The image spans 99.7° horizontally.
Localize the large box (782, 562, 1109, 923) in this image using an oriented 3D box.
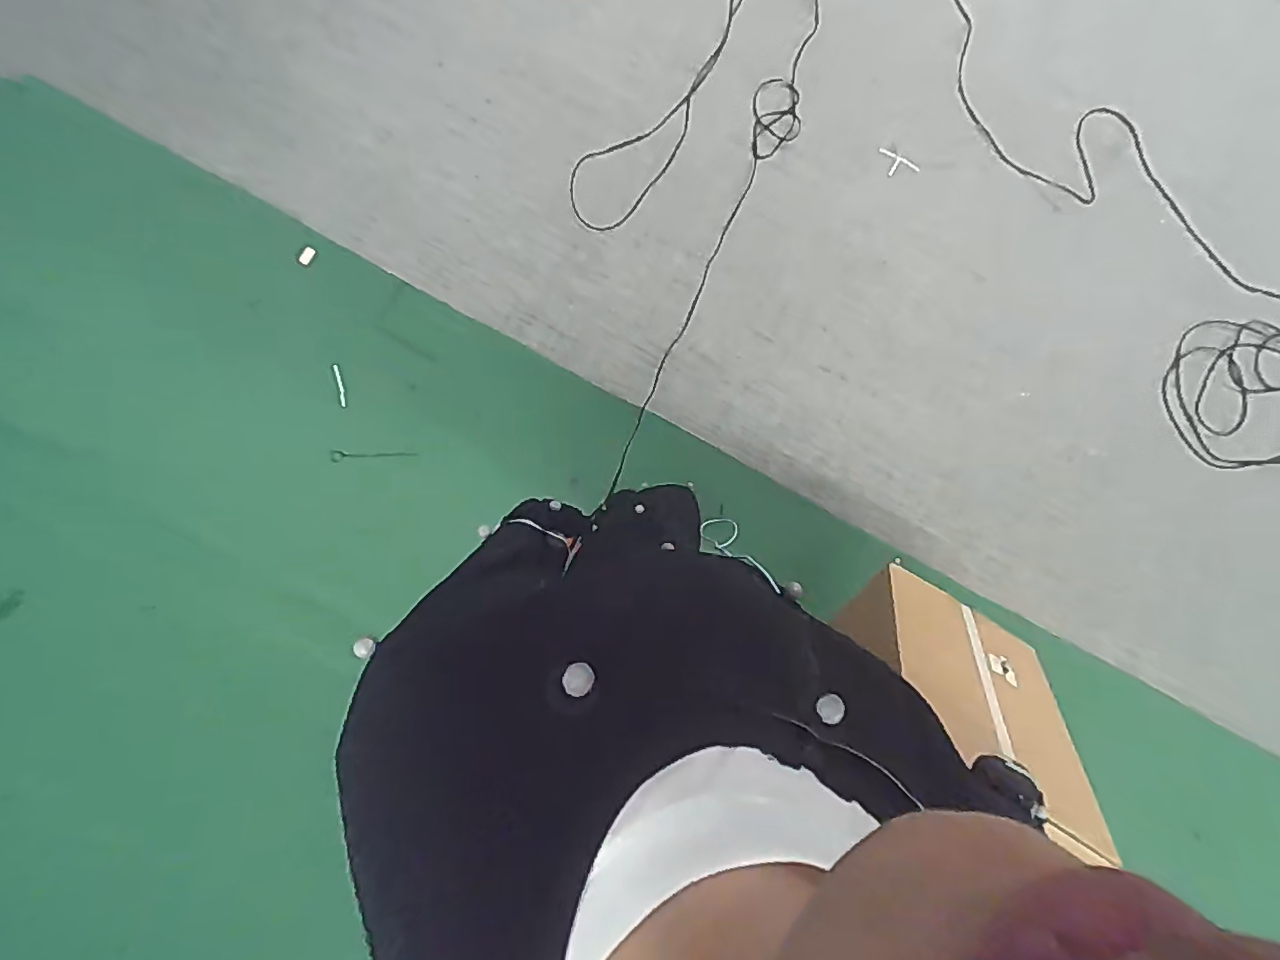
[{"bbox_3d":[0.473,0.429,0.944,0.320,0.408,0.320,32,122,3],"label":"large box"}]
